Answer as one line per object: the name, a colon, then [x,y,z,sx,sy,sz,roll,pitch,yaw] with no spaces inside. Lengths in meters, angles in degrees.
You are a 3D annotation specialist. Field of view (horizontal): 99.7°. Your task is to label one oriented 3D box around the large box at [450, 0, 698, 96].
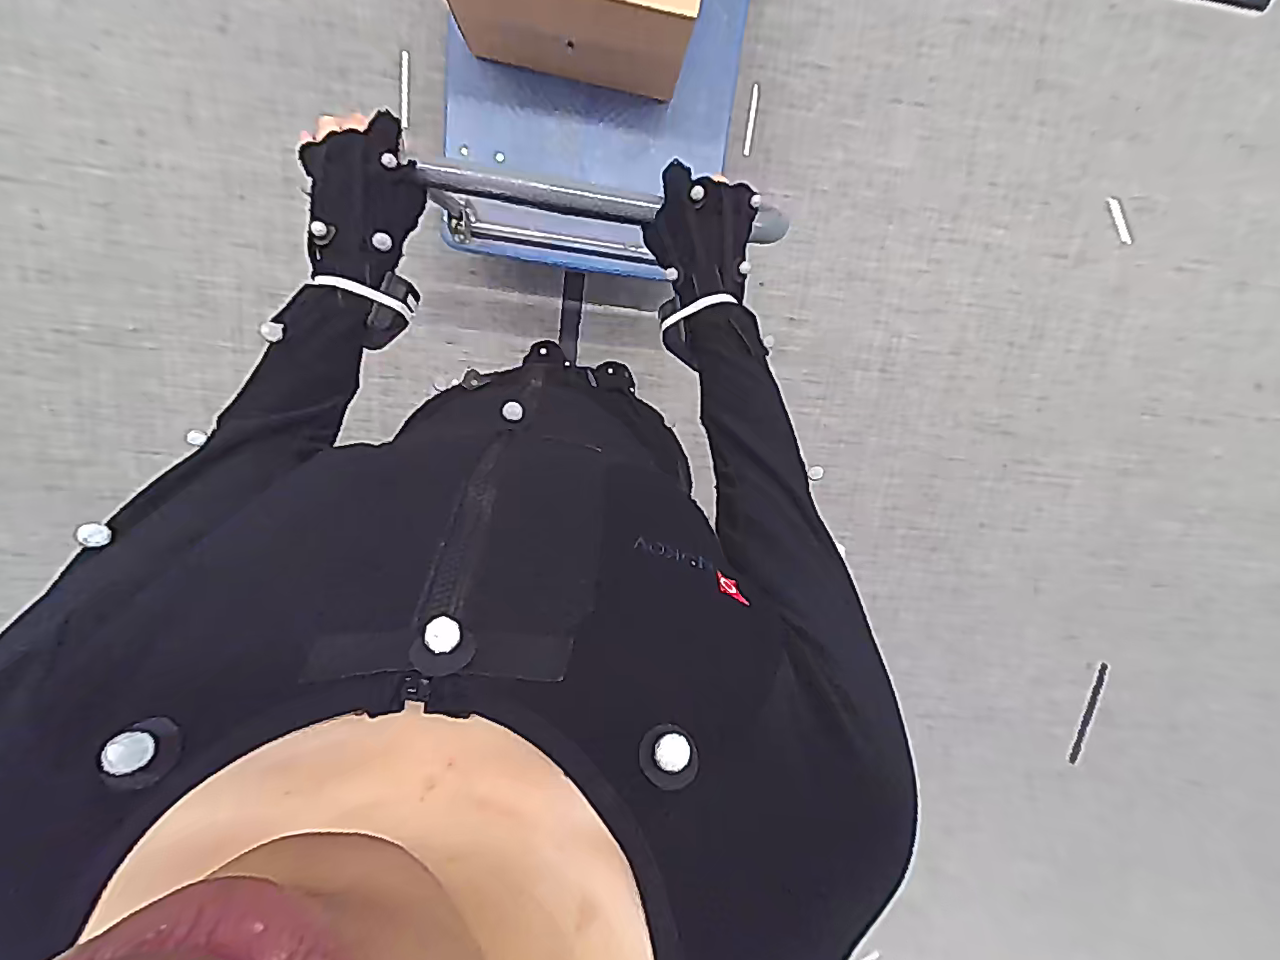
large box: [-0.096,-0.917,0.917,0.408,0.320,0.320,8,104,-6]
